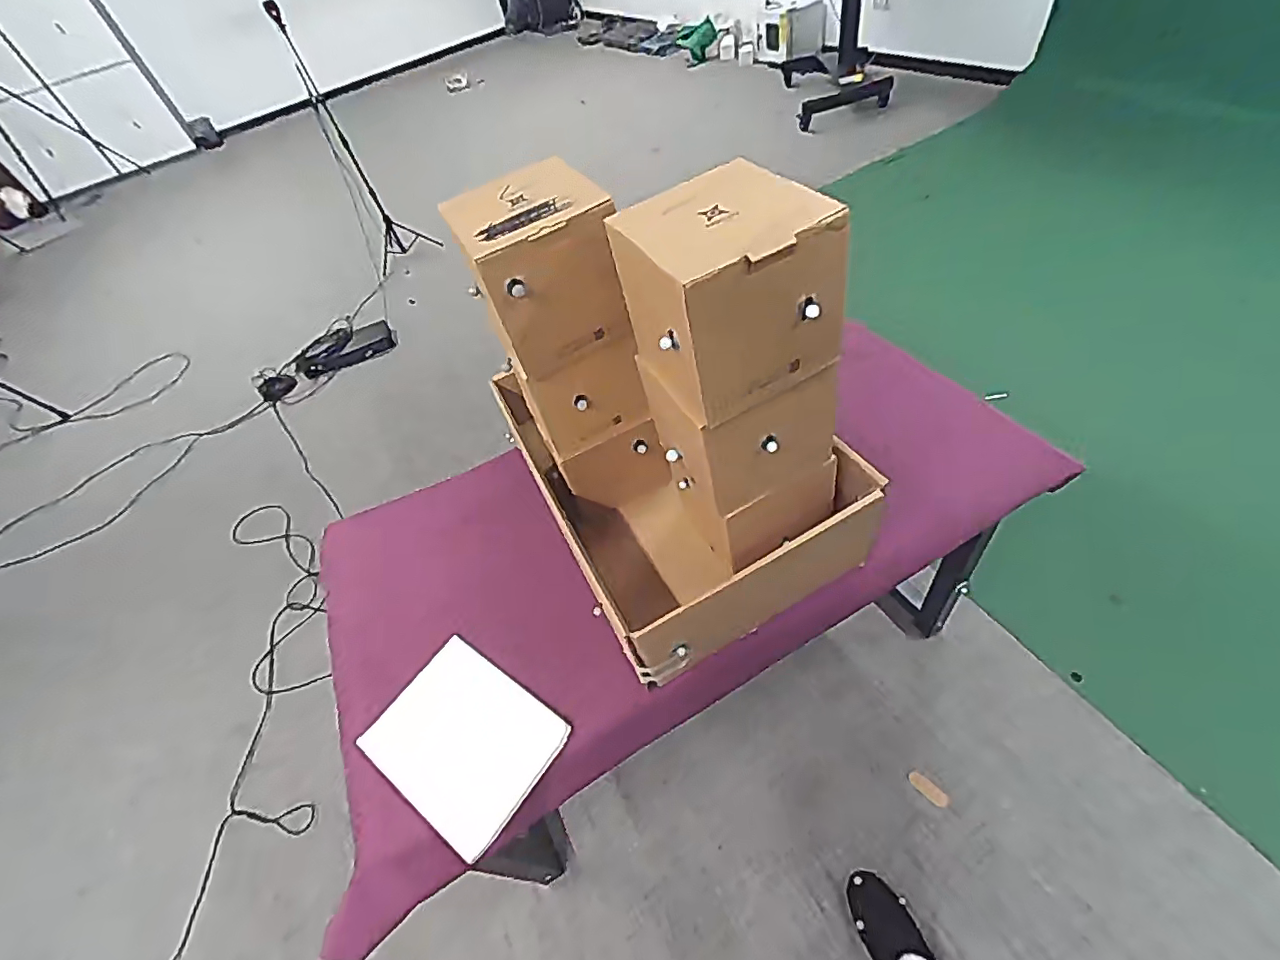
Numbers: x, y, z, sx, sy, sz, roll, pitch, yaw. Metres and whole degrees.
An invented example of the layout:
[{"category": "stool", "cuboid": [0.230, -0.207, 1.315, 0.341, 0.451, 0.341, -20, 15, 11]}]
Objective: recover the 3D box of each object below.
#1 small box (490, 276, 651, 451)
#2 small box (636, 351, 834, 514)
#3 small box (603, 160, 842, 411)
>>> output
[{"category": "small box", "cuboid": [-0.099, -0.166, 0.813, 0.168, 0.176, 0.179, -27, 51, -8]}, {"category": "small box", "cuboid": [0.119, -0.091, 0.684, 0.179, 0.176, 0.168, -28, 48, -7]}, {"category": "small box", "cuboid": [0.086, -0.195, 0.563, 0.168, 0.176, 0.179, -27, 48, -7]}]
